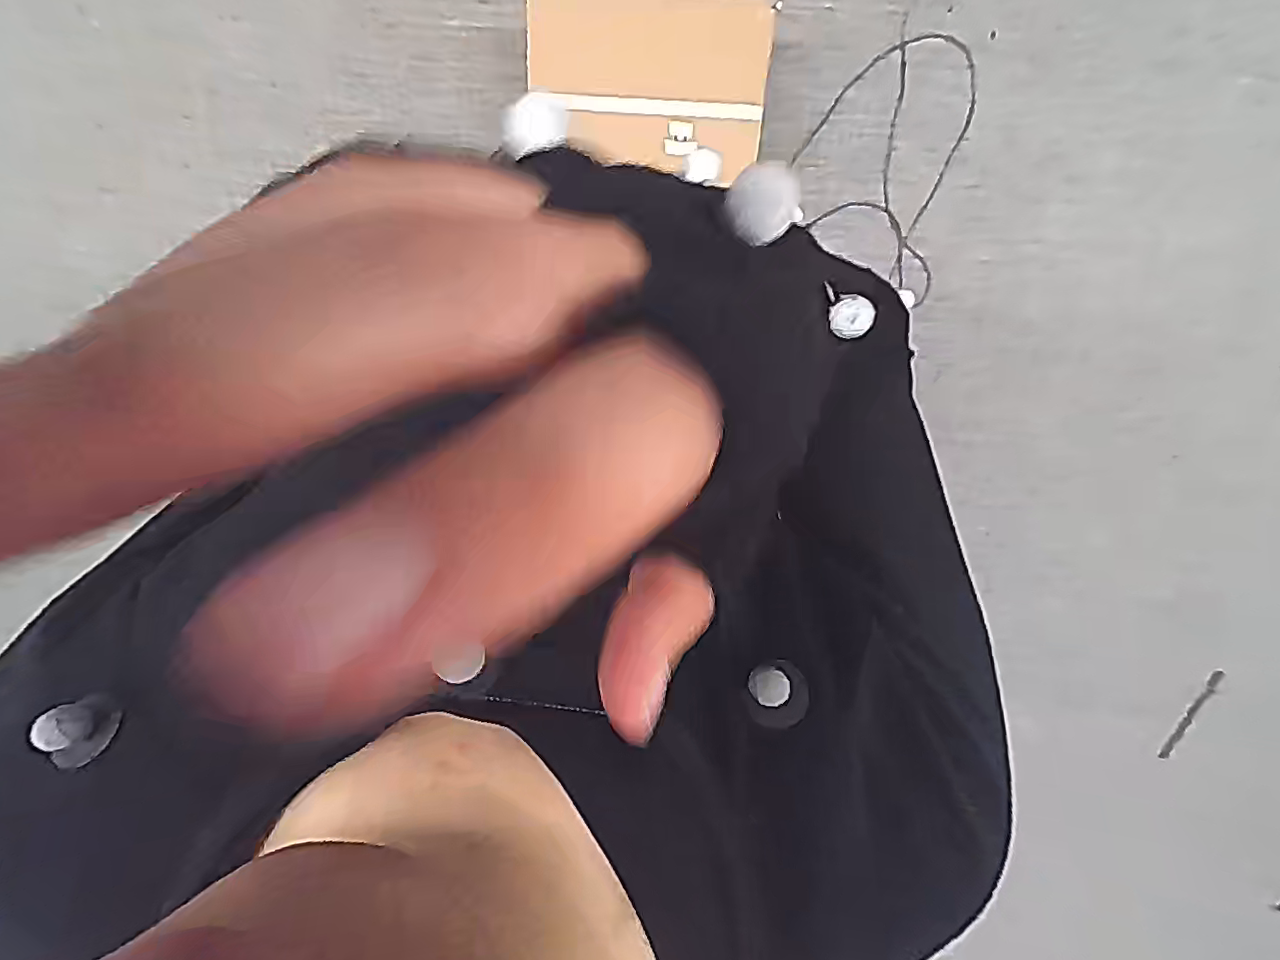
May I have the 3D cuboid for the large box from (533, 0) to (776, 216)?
[{"bbox_3d":[0.018,-0.709,1.072,0.408,0.320,0.320,4,115,0],"label":"large box"}]
